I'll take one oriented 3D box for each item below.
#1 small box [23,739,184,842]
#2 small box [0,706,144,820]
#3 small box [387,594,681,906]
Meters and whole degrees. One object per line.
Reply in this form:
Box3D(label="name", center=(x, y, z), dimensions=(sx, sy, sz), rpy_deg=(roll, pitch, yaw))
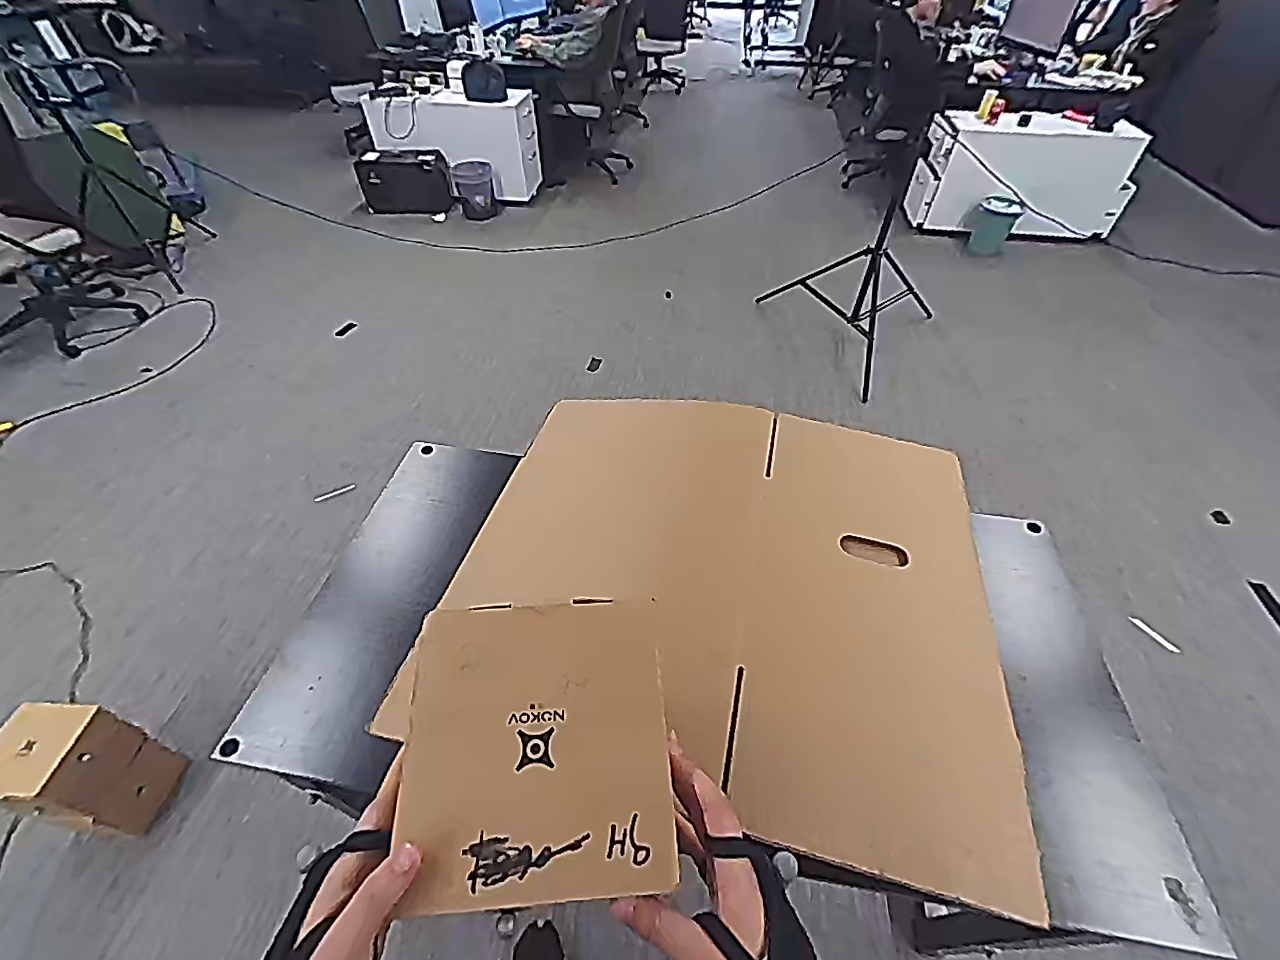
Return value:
Box3D(label="small box", center=(-1.216, 0.712, 1.250), dimensions=(0.168, 0.176, 0.179), rpy_deg=(4, 48, 3))
Box3D(label="small box", center=(-1.216, 0.596, 1.135), dimensions=(0.168, 0.176, 0.179), rpy_deg=(2, 46, 0))
Box3D(label="small box", center=(-0.065, 0.204, 0.412), dimensions=(0.168, 0.176, 0.179), rpy_deg=(-3, 56, -3))
